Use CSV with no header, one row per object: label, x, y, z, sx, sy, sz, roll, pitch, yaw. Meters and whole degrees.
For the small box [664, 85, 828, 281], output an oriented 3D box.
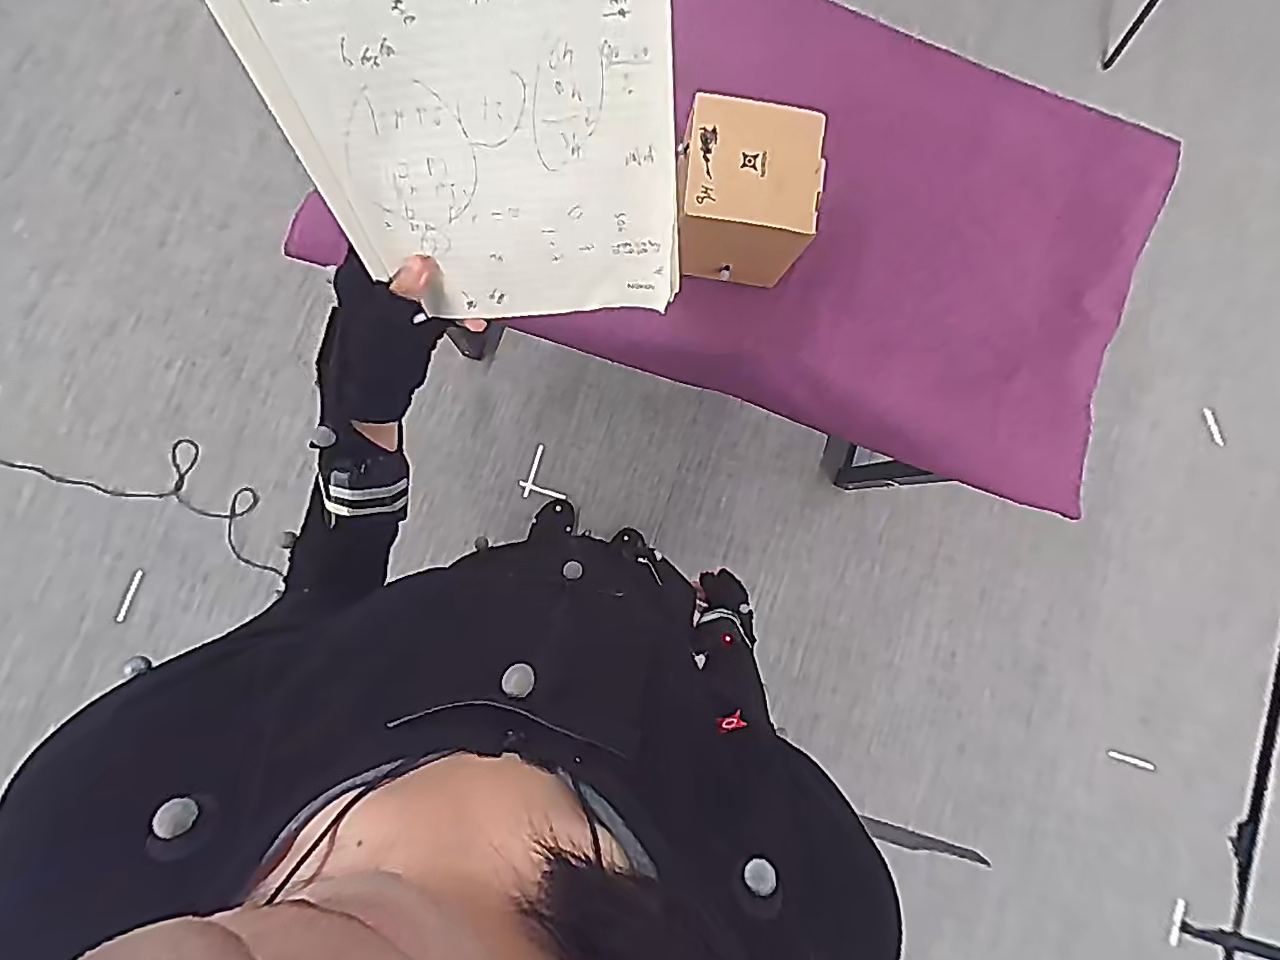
small box,0.139,-0.401,0.762,0.179,0.176,0.168,7,85,-6
